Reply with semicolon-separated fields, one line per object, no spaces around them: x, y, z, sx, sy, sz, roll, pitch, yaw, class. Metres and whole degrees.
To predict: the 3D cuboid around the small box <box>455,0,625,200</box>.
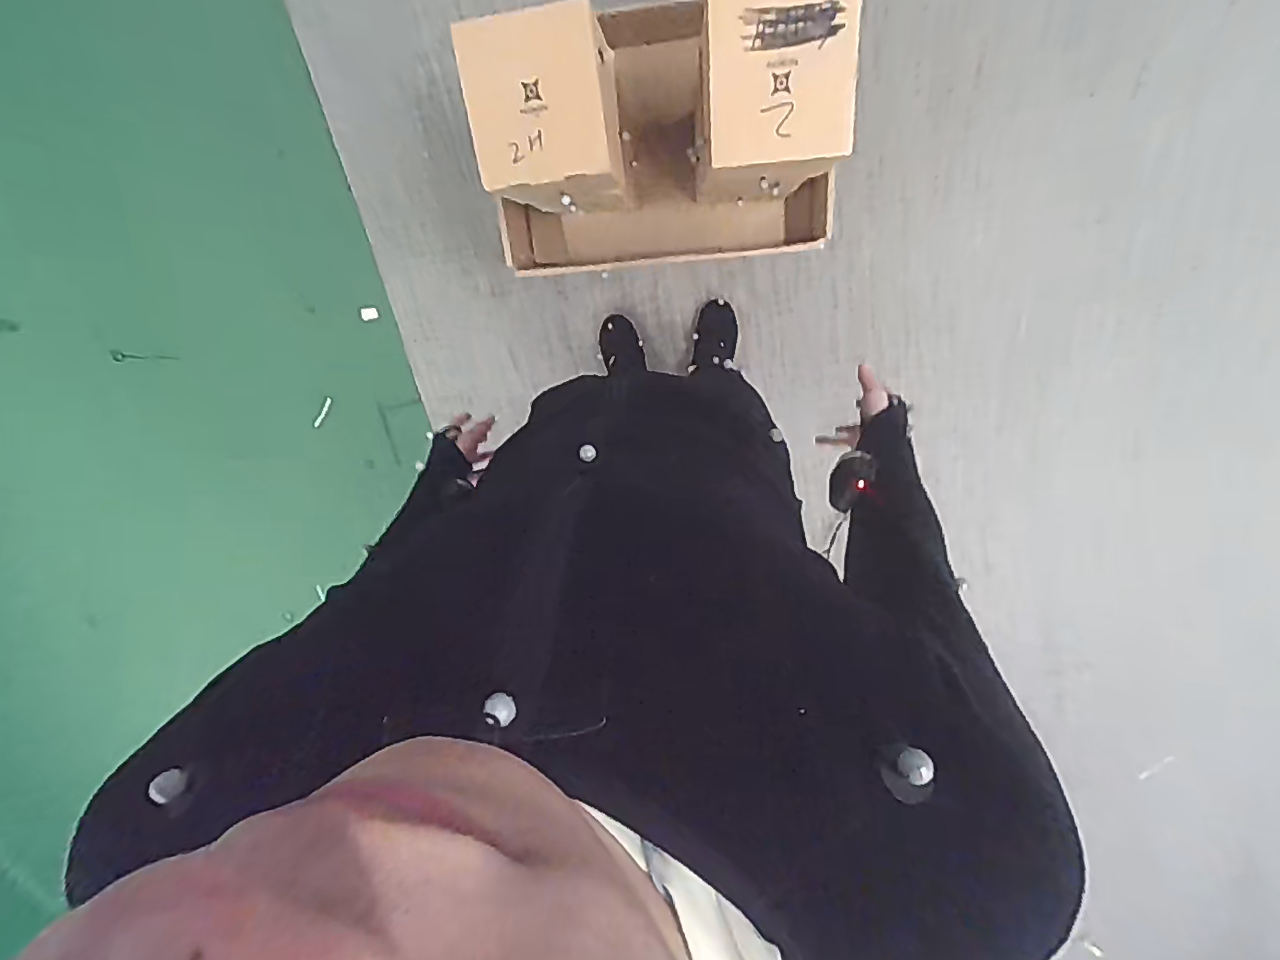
-0.118;-0.486;0.715;0.168;0.176;0.179;-4;111;8;small box

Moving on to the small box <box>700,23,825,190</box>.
0.177;-0.554;0.830;0.168;0.176;0.179;-2;110;6;small box

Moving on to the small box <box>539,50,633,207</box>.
-0.104;-0.548;0.867;0.168;0.176;0.179;-1;112;7;small box

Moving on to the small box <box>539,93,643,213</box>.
-0.091;-0.605;1.020;0.179;0.176;0.168;0;112;6;small box
